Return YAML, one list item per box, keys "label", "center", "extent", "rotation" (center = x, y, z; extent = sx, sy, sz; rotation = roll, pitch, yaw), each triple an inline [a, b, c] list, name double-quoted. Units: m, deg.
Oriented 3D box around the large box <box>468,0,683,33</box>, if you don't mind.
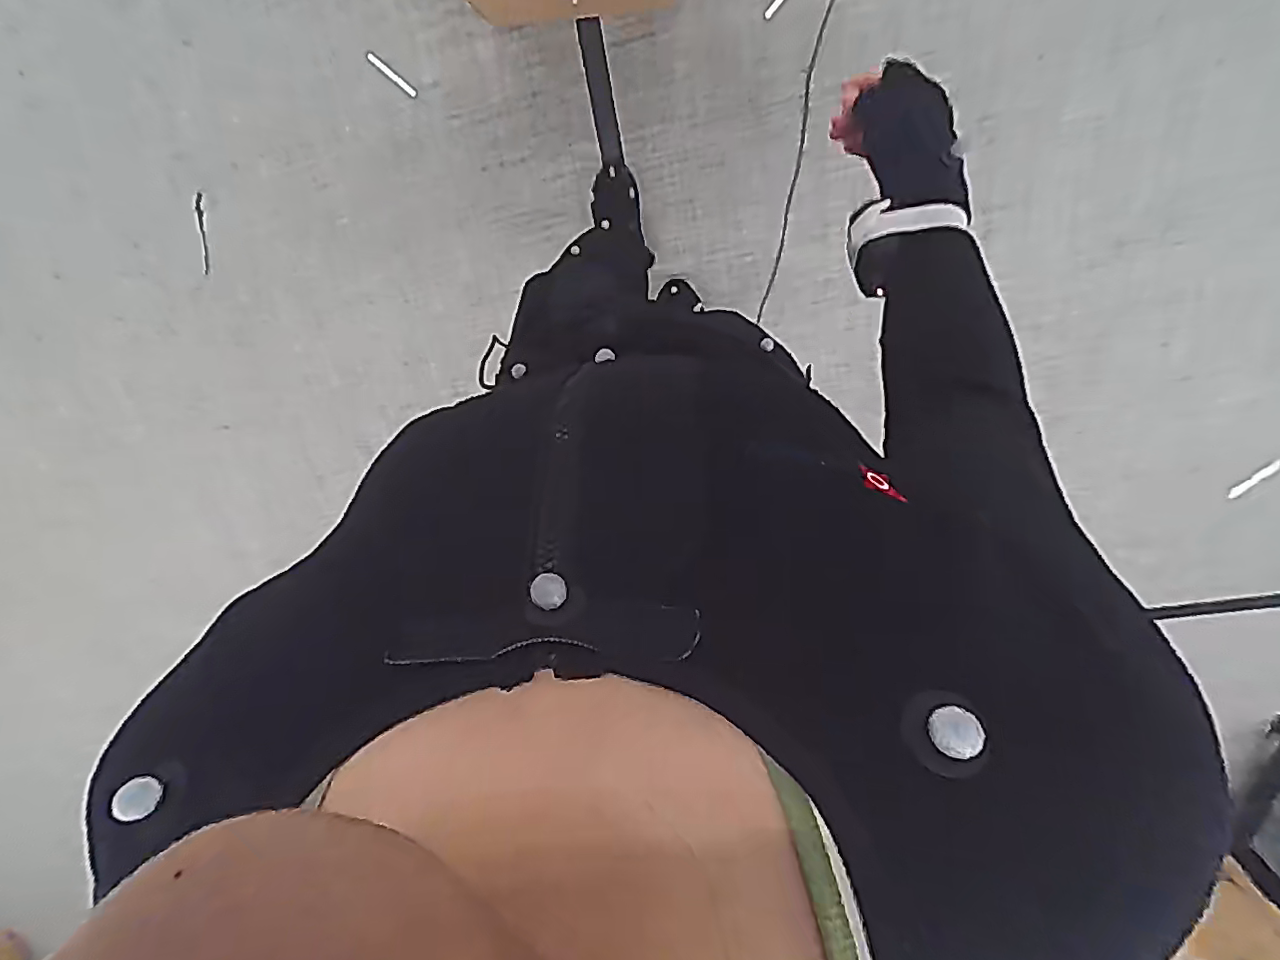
- label: "large box"
  center: [-0.132, -1.032, 0.930]
  extent: [0.408, 0.320, 0.320]
  rotation: [-2, 115, 6]
